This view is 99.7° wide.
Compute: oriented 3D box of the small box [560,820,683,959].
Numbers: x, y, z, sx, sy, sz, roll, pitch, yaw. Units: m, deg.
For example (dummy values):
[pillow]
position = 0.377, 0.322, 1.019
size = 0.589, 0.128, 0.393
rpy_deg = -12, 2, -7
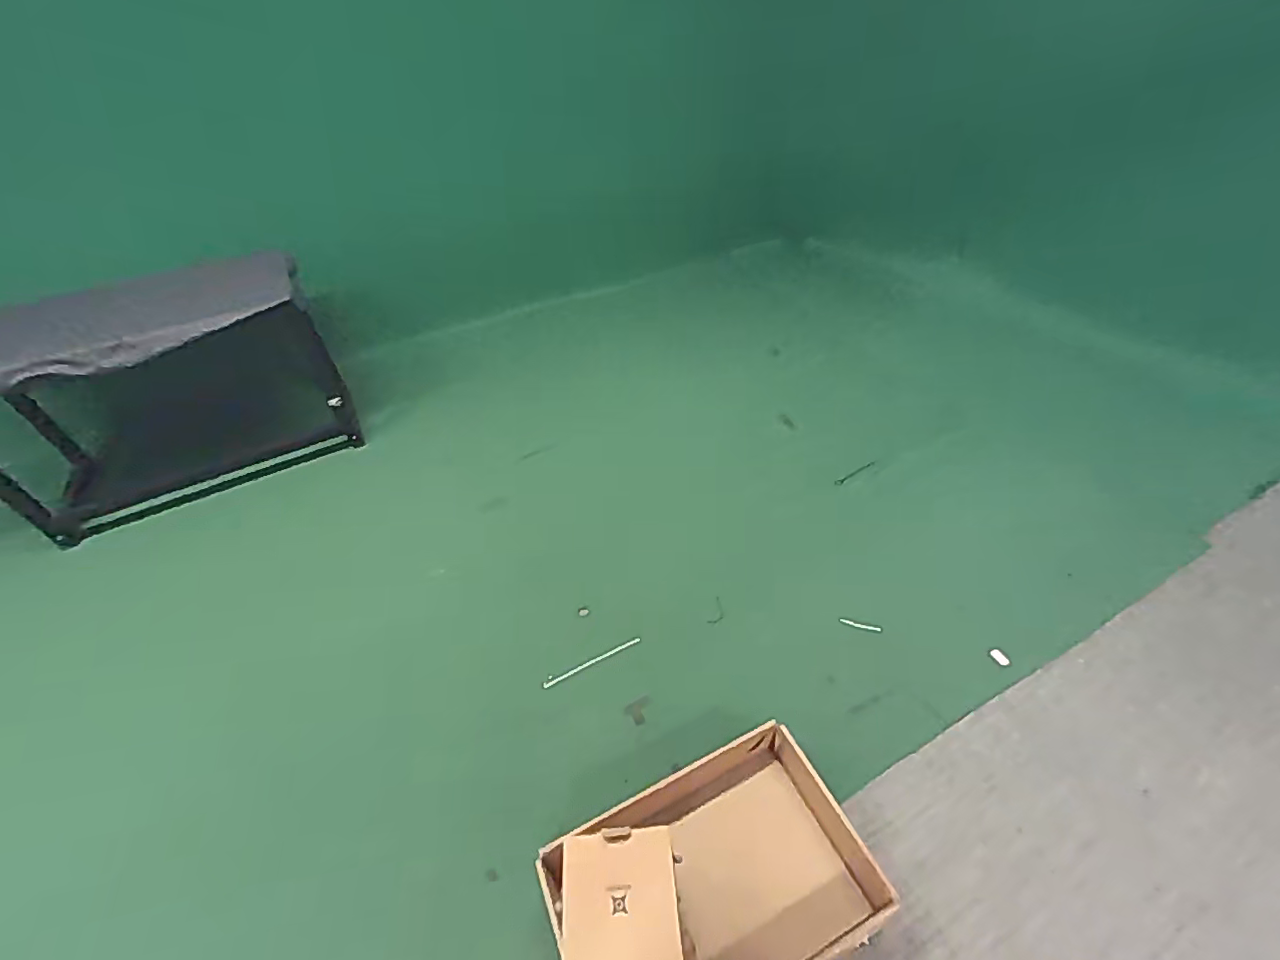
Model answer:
[small box]
position = -0.025, 0.646, 0.821
size = 0.168, 0.176, 0.179
rpy_deg = -6, 42, -1
